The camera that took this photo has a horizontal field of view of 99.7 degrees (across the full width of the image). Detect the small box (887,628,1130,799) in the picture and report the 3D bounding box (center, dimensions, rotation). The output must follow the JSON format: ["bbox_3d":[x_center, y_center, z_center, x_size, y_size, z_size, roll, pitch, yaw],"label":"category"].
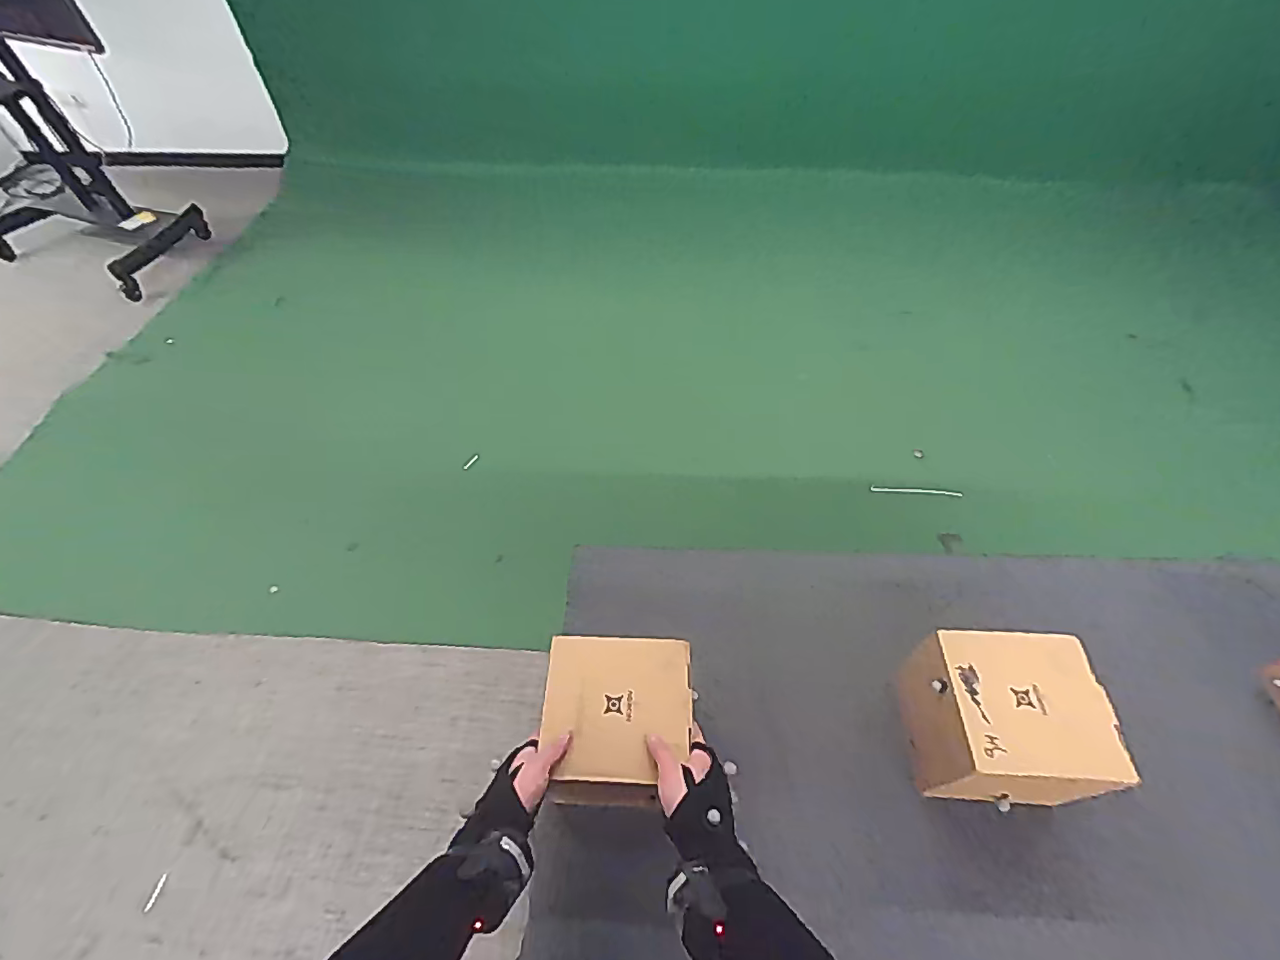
[{"bbox_3d":[0.456,0.308,0.705,0.179,0.176,0.168,4,52,-1],"label":"small box"}]

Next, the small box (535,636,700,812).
[{"bbox_3d":[-0.025,0.309,0.680,0.179,0.176,0.168,1,50,-1],"label":"small box"}]
